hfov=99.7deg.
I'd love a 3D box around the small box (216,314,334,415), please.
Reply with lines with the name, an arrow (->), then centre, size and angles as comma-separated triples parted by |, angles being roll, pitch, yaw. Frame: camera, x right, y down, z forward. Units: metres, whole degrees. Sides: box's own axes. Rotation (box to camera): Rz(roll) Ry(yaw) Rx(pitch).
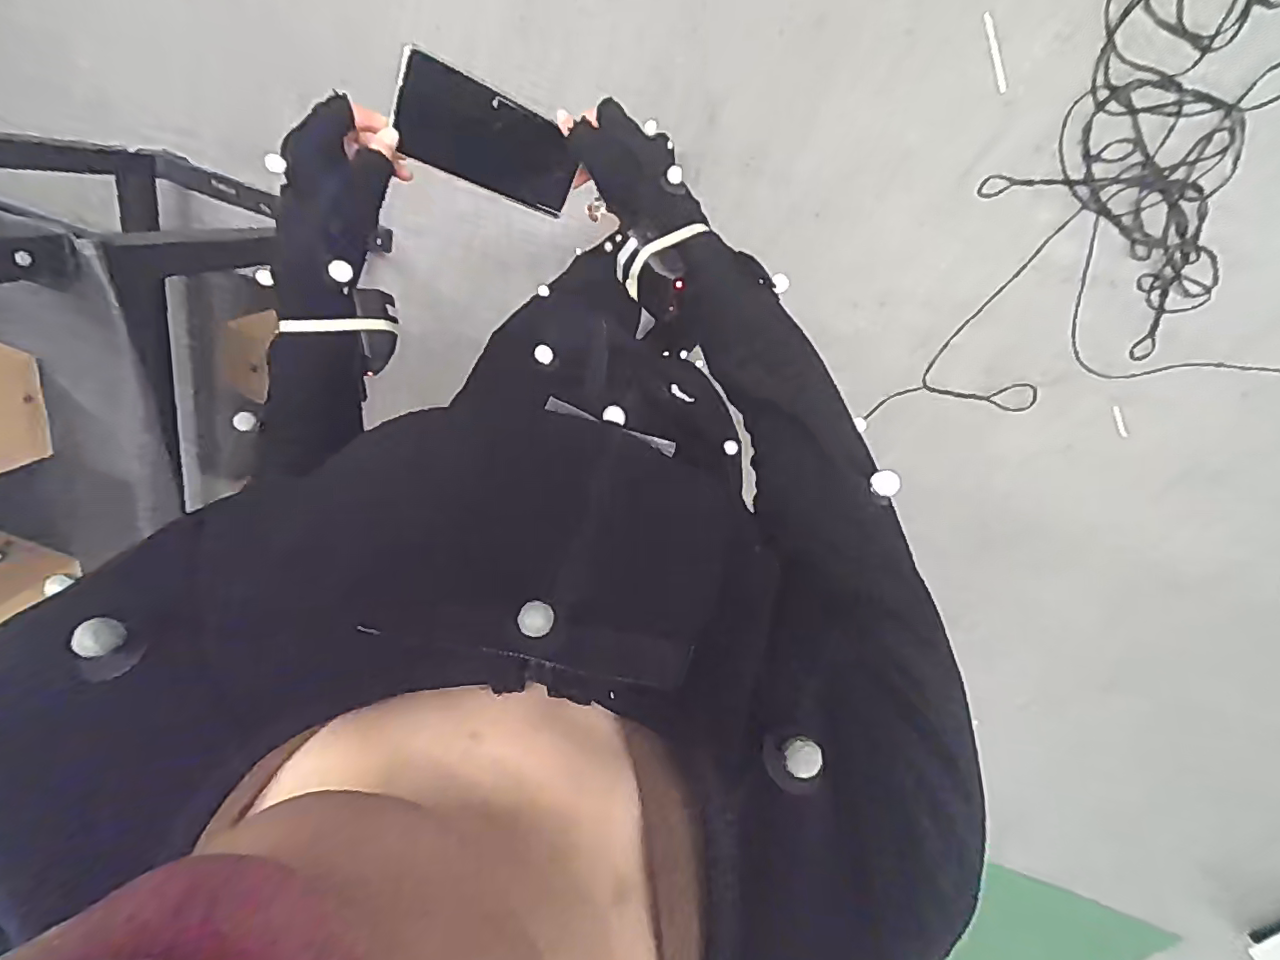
small box -> -0.873, -0.284, 1.304 | 0.179, 0.176, 0.168 | 22, 116, -5

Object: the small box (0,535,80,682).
small box -> -1.071, 0.215, 0.875 | 0.168, 0.176, 0.179 | 22, 116, -4
